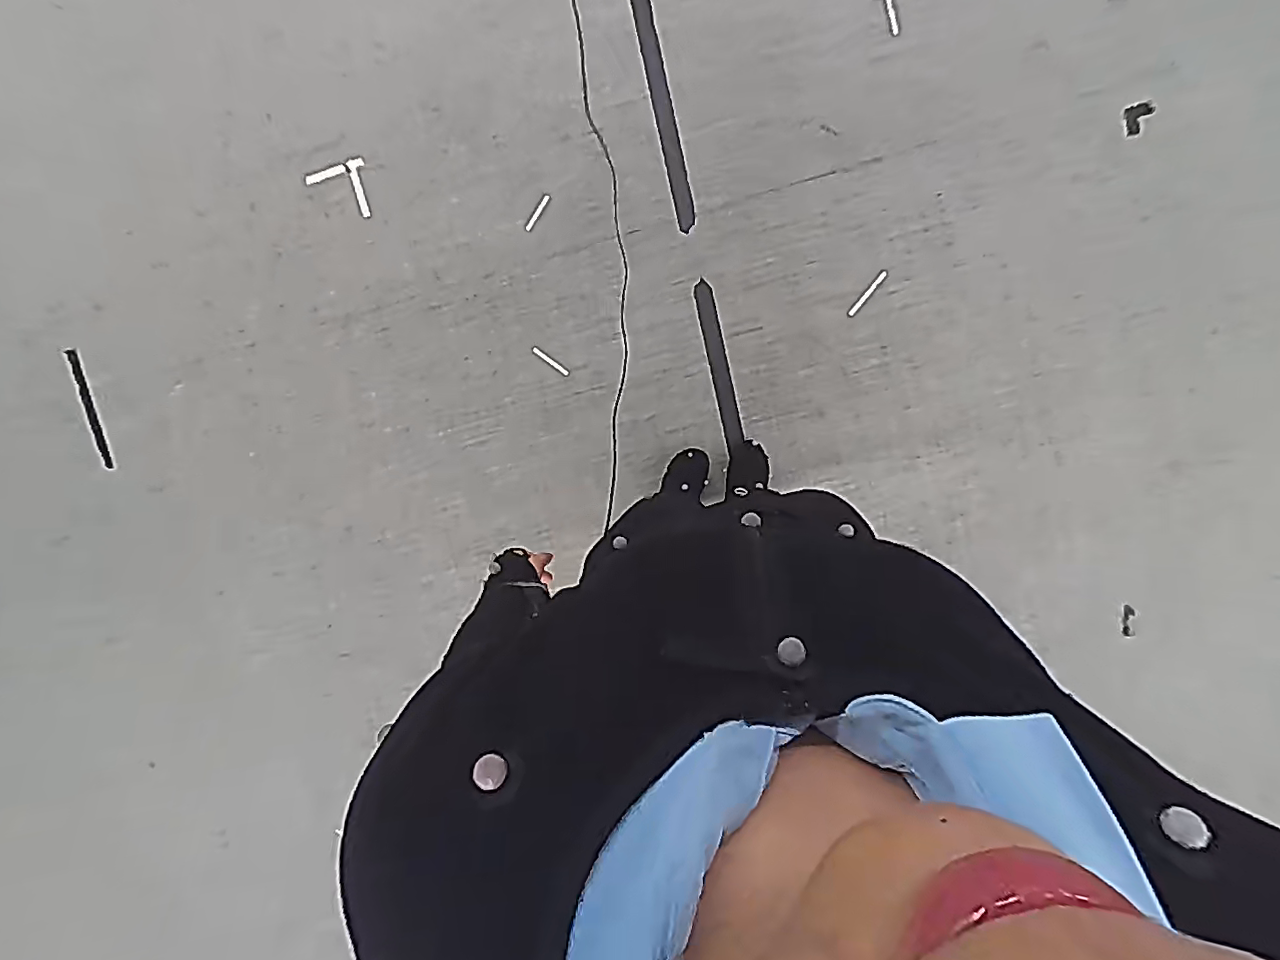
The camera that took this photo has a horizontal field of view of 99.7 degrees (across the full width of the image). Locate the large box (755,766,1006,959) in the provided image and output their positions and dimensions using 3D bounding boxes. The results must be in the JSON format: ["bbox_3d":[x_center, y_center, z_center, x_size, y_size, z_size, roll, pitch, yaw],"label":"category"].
[{"bbox_3d":[0.501,0.892,1.189,0.408,0.320,0.320,-13,94,5],"label":"large box"}]
